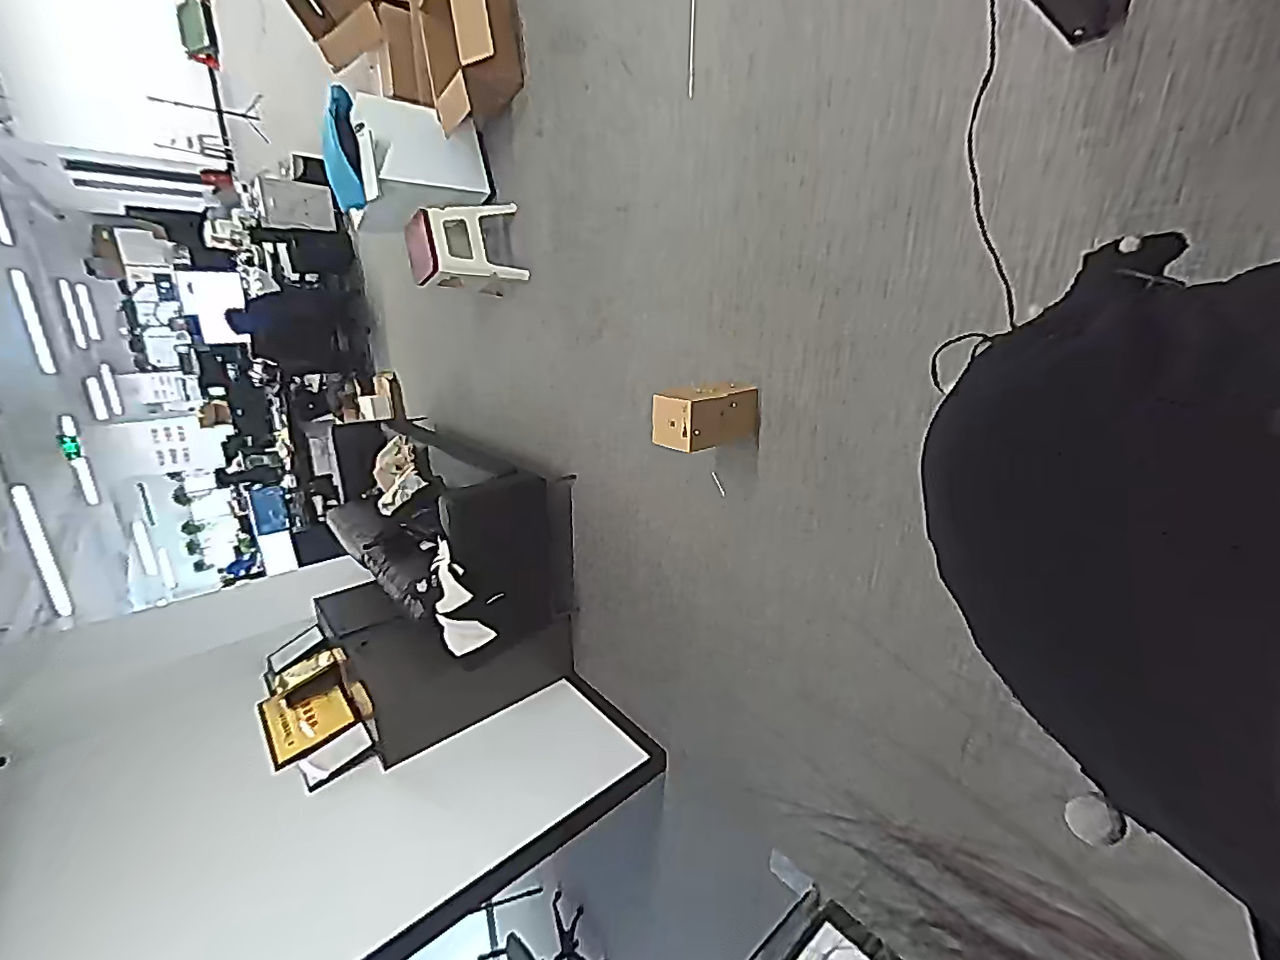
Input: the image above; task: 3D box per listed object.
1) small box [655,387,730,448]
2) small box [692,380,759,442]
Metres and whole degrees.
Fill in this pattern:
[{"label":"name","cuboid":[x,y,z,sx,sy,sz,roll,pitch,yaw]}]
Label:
[{"label":"small box","cuboid":[0.168,-0.210,1.765,0.179,0.176,0.168,22,118,47]},{"label":"small box","cuboid":[0.293,-0.243,1.867,0.168,0.176,0.179,21,117,46]}]
